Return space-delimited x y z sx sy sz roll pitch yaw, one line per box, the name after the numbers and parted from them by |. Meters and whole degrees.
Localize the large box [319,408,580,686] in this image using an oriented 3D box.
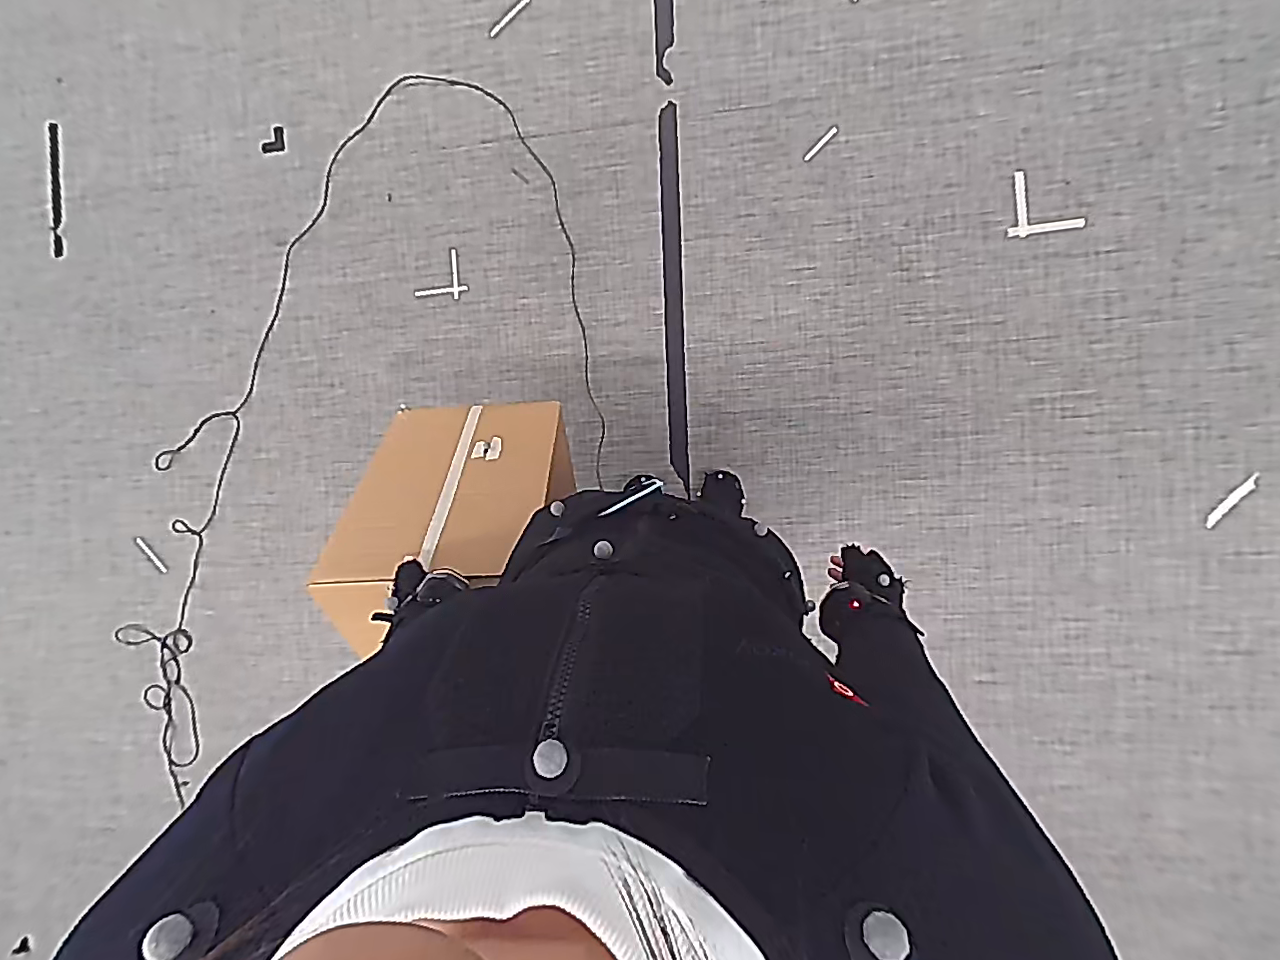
-0.293 0.114 0.993 0.320 0.408 0.320 -2 132 2 | large box
